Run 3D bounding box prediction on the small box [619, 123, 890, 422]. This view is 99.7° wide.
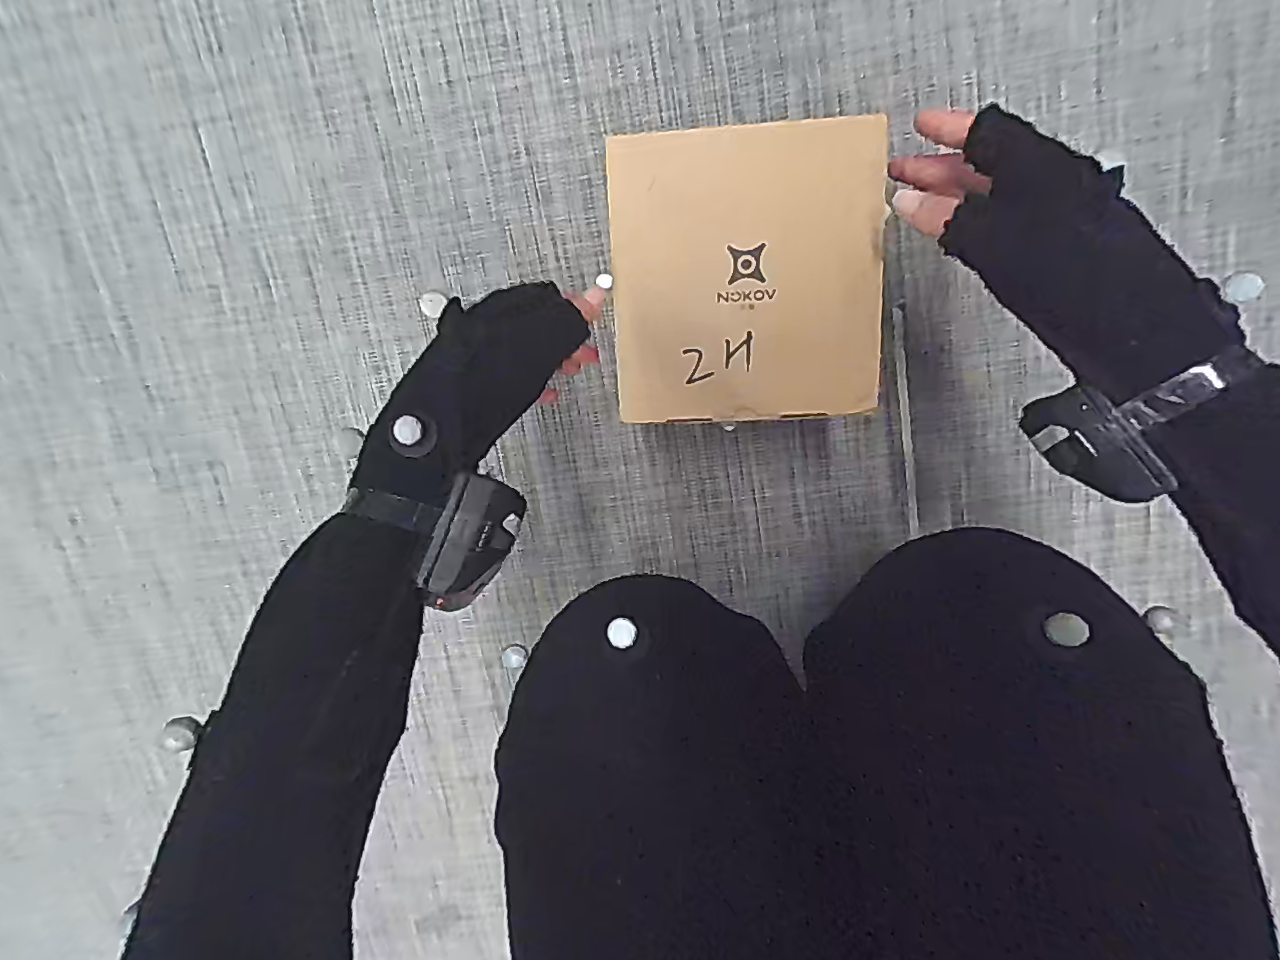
[{"bbox_3d":[0.073,-0.138,0.415,0.168,0.176,0.179,-1,101,4],"label":"small box"}]
